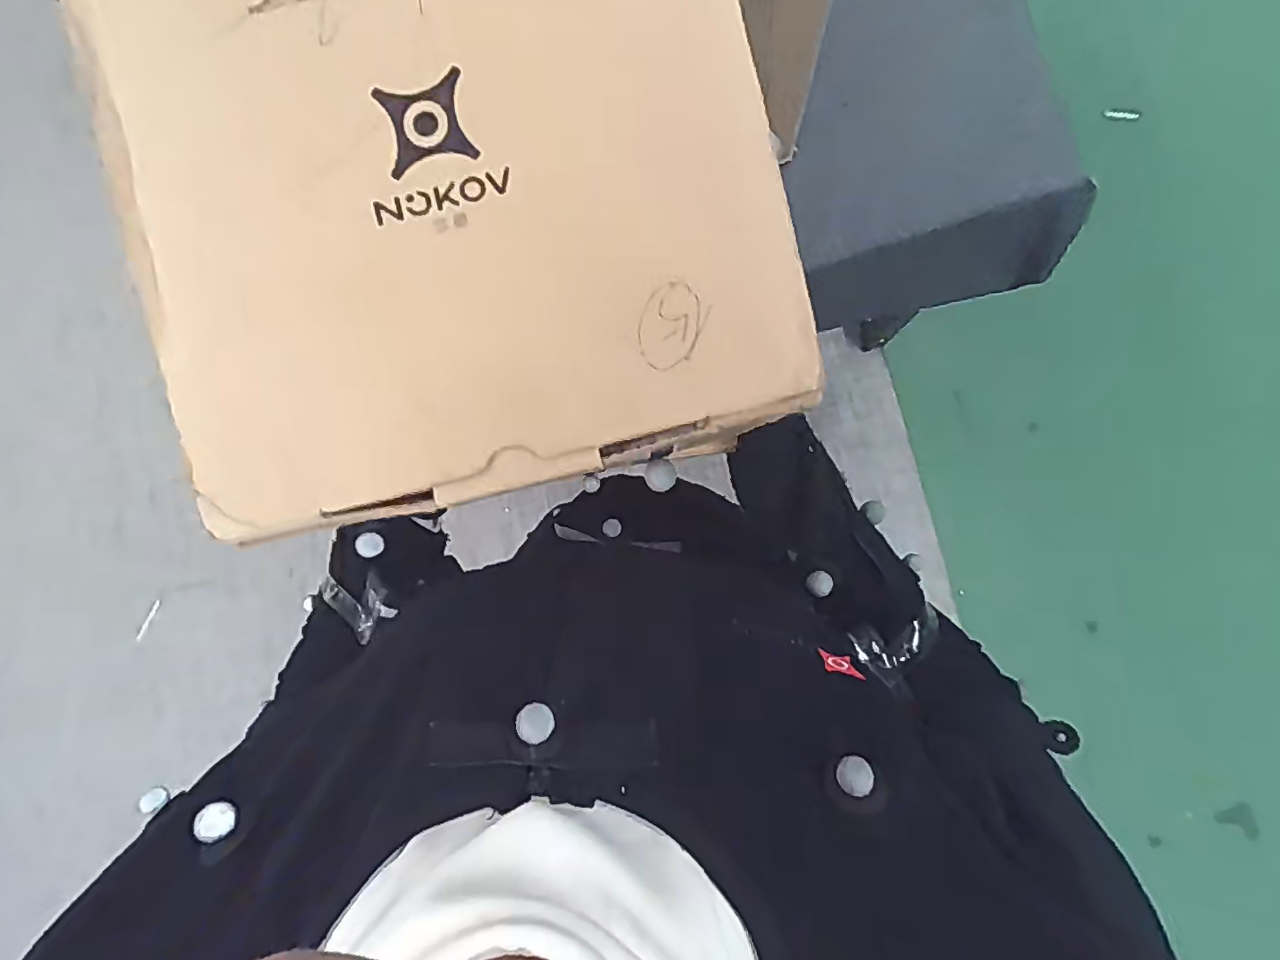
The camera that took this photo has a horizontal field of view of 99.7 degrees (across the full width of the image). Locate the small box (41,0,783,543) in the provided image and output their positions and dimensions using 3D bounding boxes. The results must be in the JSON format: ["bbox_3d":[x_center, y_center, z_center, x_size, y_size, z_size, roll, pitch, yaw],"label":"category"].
[{"bbox_3d":[-0.057,-0.087,0.217,0.168,0.176,0.179,-14,90,1],"label":"small box"}]
